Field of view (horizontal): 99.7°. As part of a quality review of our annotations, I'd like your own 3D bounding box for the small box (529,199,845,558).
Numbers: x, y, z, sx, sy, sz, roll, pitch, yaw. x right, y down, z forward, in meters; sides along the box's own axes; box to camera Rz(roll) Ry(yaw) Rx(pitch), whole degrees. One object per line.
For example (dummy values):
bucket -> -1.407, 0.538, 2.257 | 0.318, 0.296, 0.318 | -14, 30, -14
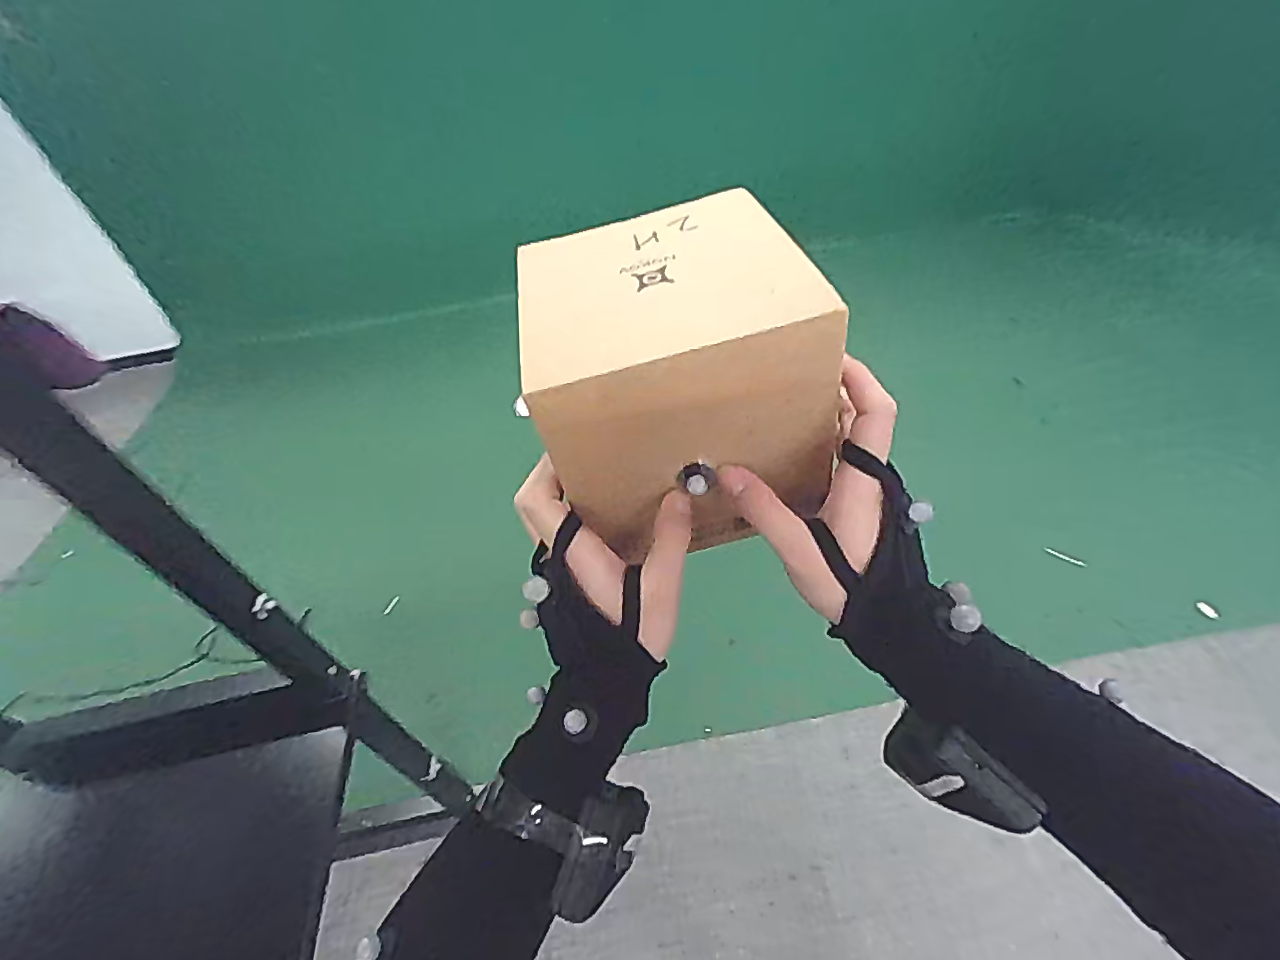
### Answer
small box -> 0.029, -0.063, 0.382 | 0.168, 0.176, 0.179 | -13, 46, 2
